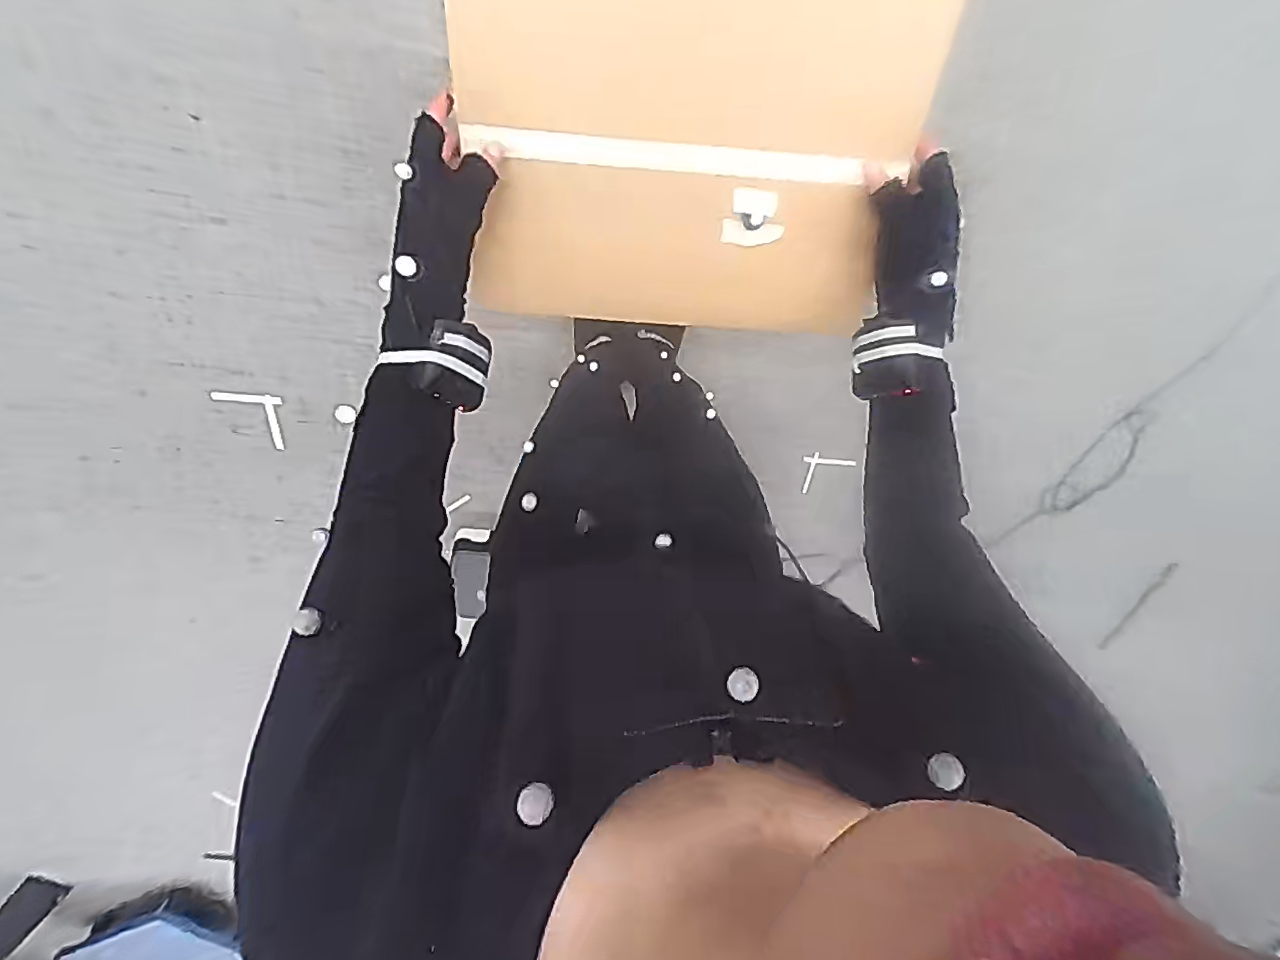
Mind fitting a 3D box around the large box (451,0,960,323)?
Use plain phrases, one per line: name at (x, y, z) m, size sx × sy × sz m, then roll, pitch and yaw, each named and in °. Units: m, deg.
large box at (0.041, -0.384, 0.596) m, size 0.408 × 0.320 × 0.320 m, roll 2°, pitch 128°, yaw -4°
